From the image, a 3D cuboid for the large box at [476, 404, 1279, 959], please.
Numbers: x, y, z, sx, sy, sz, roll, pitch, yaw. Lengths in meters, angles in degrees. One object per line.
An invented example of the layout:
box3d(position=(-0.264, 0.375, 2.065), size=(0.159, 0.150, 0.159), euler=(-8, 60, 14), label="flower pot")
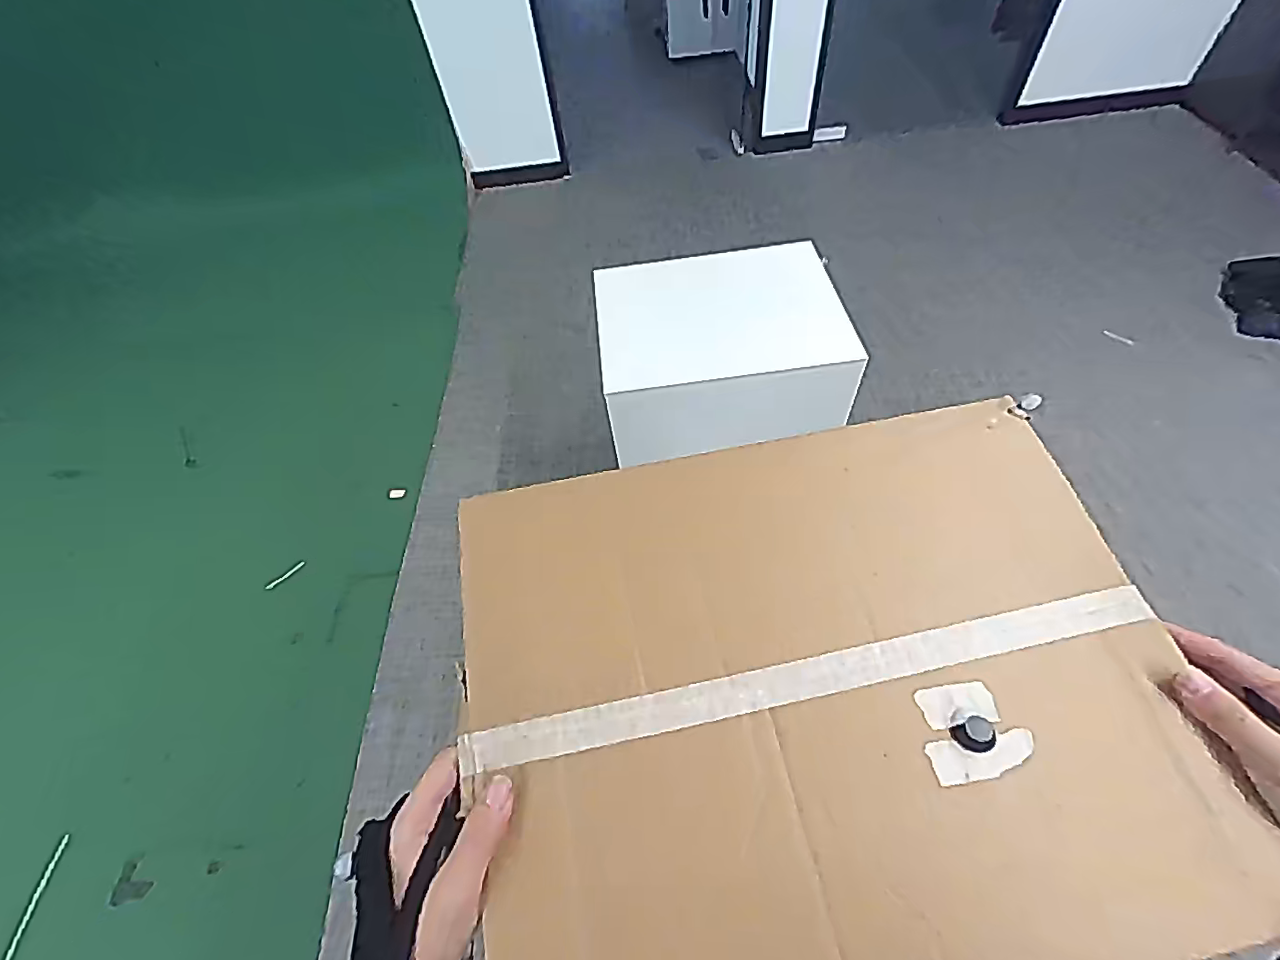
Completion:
box3d(position=(0.109, 0.180, 0.459), size=(0.408, 0.320, 0.320), euler=(-10, 63, -5), label="large box")
